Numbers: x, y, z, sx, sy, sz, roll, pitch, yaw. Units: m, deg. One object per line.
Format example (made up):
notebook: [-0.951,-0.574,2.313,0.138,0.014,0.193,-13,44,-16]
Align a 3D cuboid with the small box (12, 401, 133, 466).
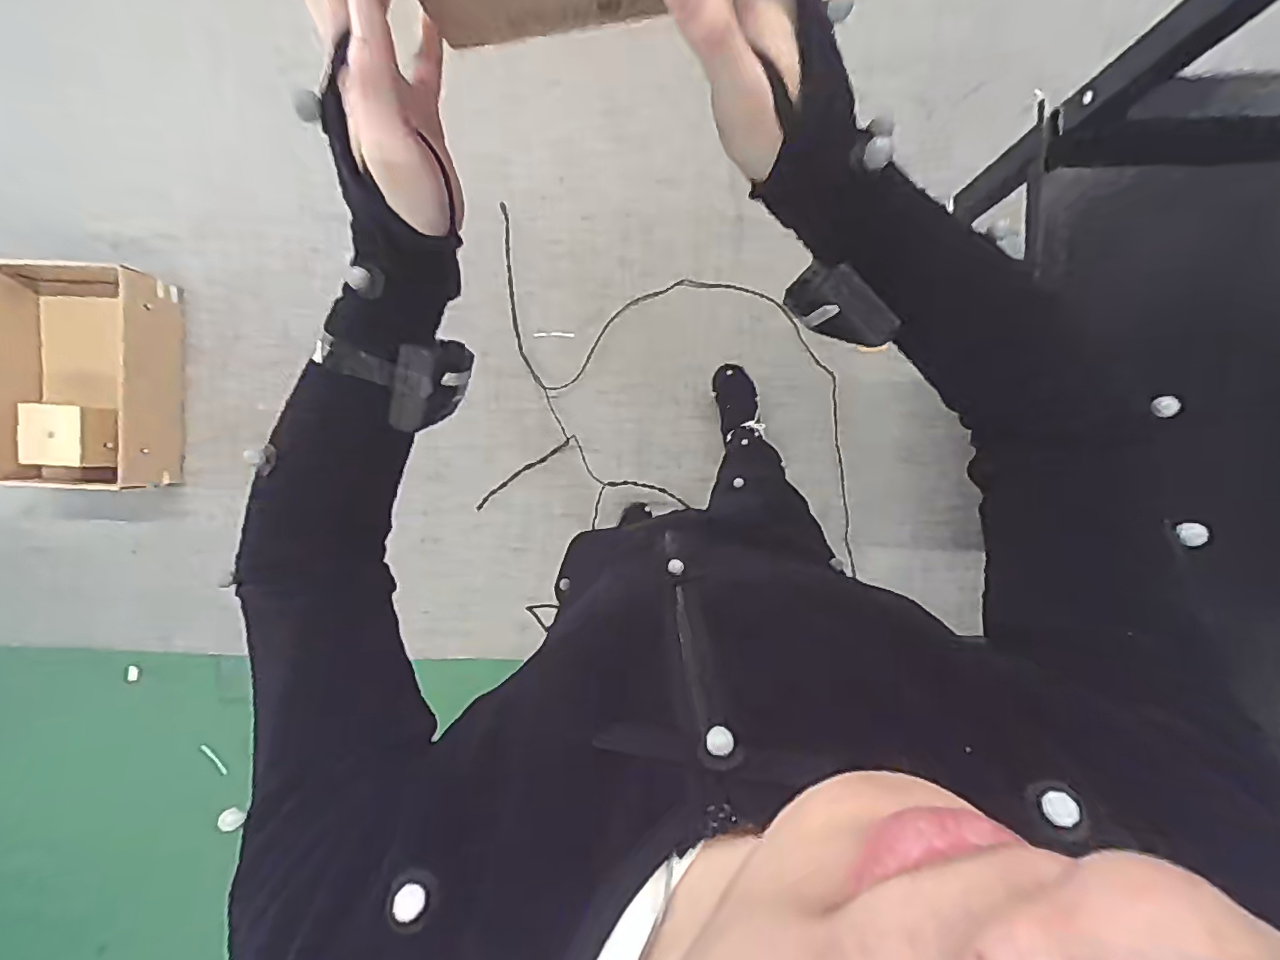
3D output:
small box: [-1.582,-0.128,1.517,0.179,0.176,0.168,3,92,2]
